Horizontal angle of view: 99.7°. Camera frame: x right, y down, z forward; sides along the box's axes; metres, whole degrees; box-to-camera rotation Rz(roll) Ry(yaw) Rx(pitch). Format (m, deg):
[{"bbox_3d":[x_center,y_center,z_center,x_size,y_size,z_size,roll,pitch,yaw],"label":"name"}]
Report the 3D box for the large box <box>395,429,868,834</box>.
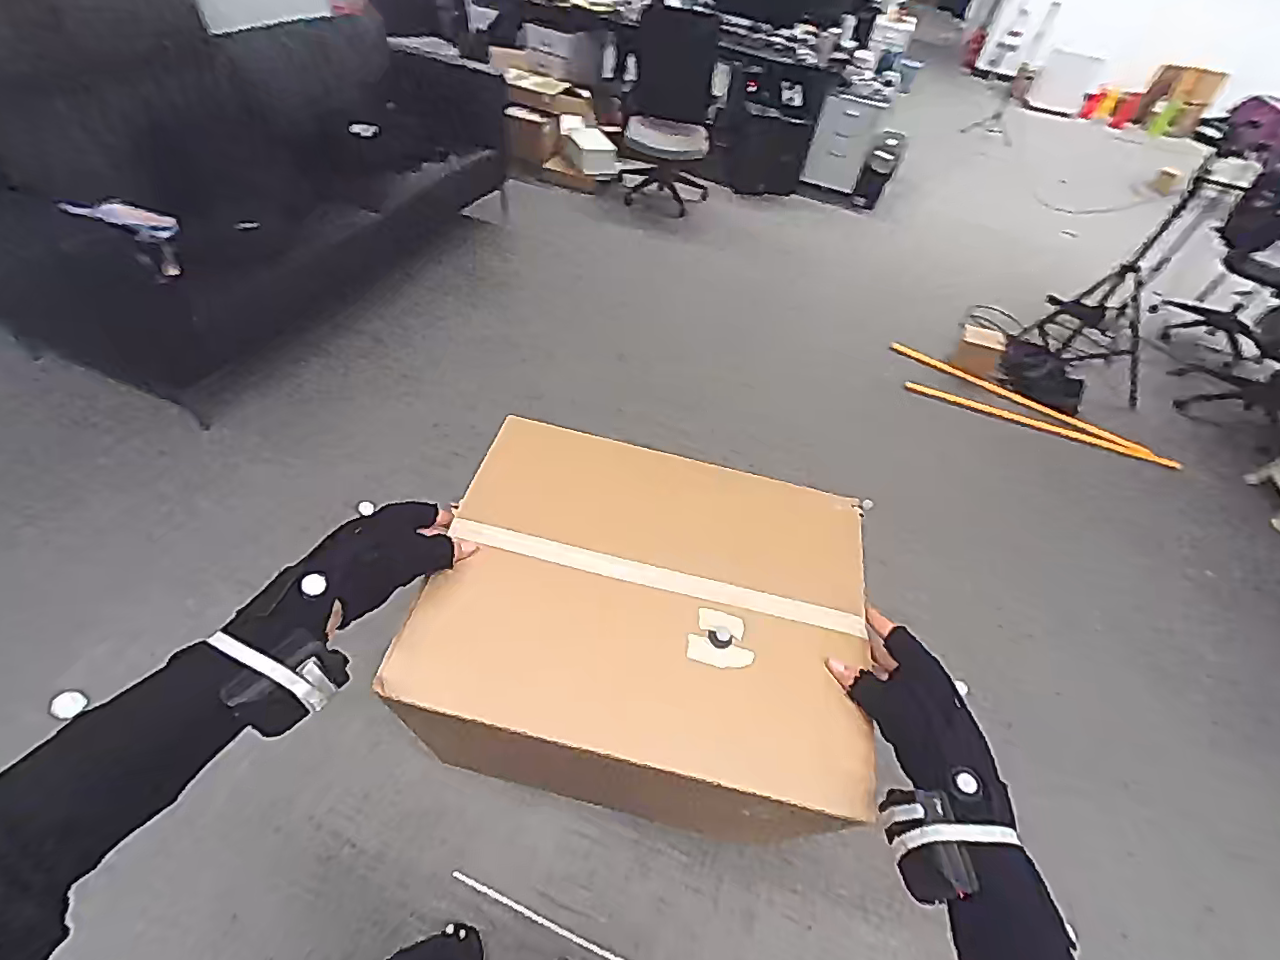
[{"bbox_3d":[-0.003,0.189,0.643,0.408,0.320,0.320,14,53,1],"label":"large box"}]
